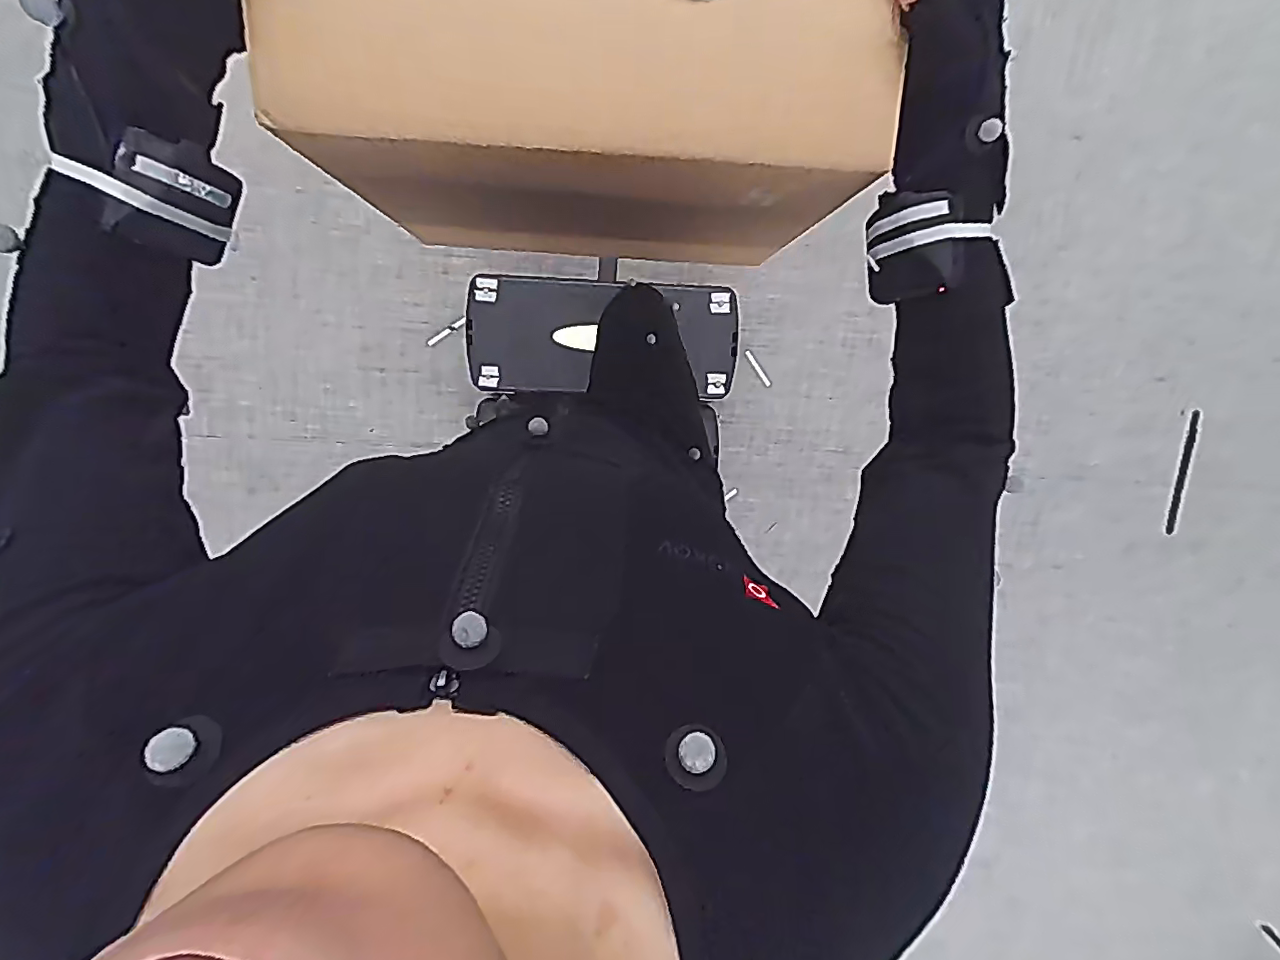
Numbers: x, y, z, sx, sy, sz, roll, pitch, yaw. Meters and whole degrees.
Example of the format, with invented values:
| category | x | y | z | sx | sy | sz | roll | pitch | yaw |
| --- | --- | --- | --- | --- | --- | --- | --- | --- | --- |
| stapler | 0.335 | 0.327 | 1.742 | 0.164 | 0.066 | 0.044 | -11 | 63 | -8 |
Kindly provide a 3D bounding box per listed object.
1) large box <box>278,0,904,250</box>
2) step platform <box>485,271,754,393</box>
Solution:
| category | x | y | z | sx | sy | sz | roll | pitch | yaw |
| --- | --- | --- | --- | --- | --- | --- | --- | --- | --- |
| large box | -0.034 | -0.403 | 0.475 | 0.408 | 0.320 | 0.320 | 1 | 102 | -5 |
| step platform | -0.051 | -0.378 | 1.412 | 0.684 | 0.204 | 0.286 | 0 | 101 | -5 |
